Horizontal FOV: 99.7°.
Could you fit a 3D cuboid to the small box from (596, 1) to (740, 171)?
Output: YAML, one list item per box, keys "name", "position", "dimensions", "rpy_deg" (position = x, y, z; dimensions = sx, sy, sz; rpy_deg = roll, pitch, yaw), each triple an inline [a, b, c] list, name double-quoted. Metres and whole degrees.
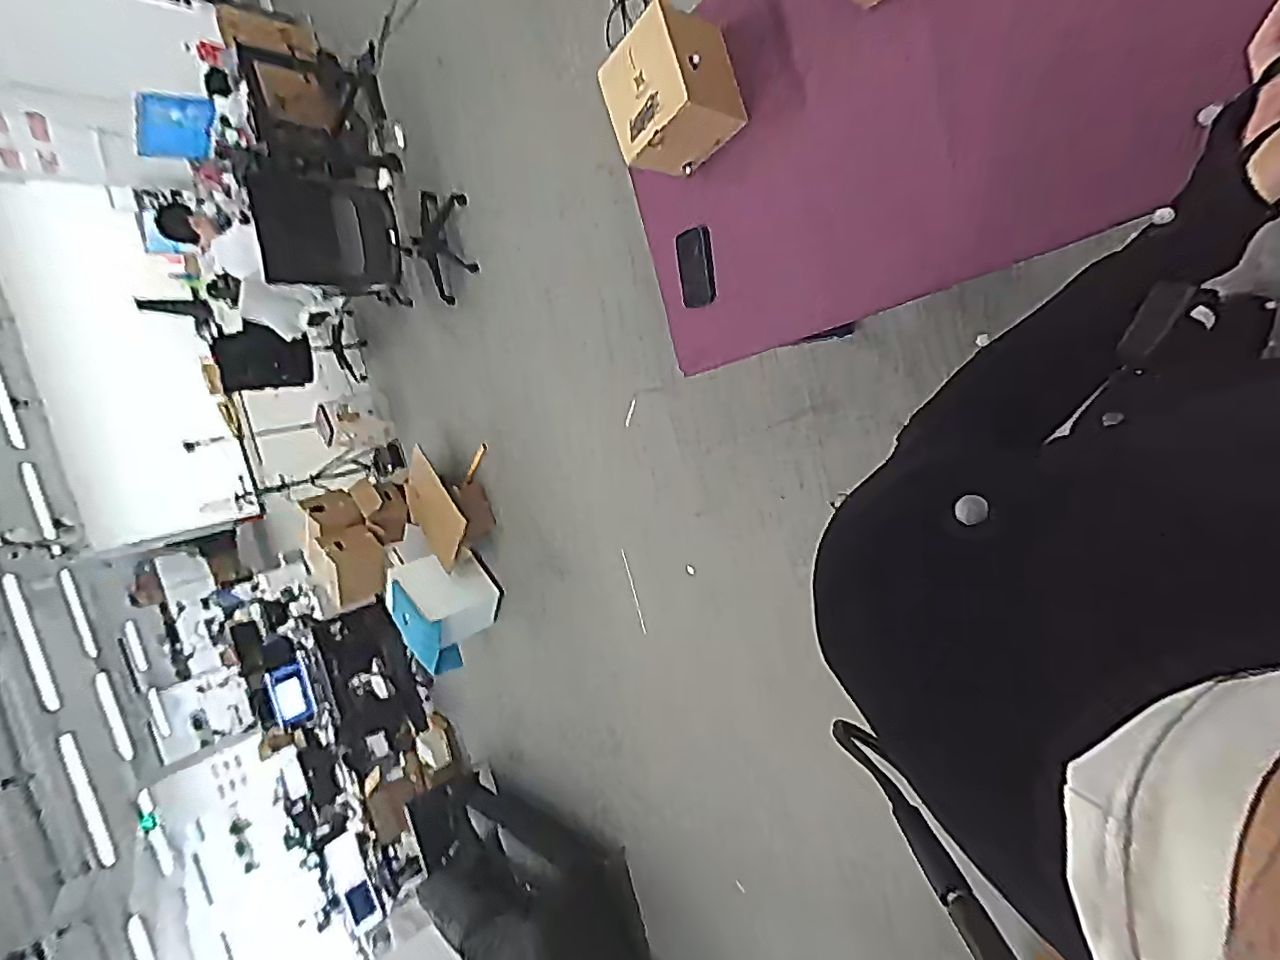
- name: "small box"
  position: [0.054, -0.683, 0.966]
  dimensions: [0.168, 0.176, 0.179]
  rpy_deg: [-17, 90, 48]
